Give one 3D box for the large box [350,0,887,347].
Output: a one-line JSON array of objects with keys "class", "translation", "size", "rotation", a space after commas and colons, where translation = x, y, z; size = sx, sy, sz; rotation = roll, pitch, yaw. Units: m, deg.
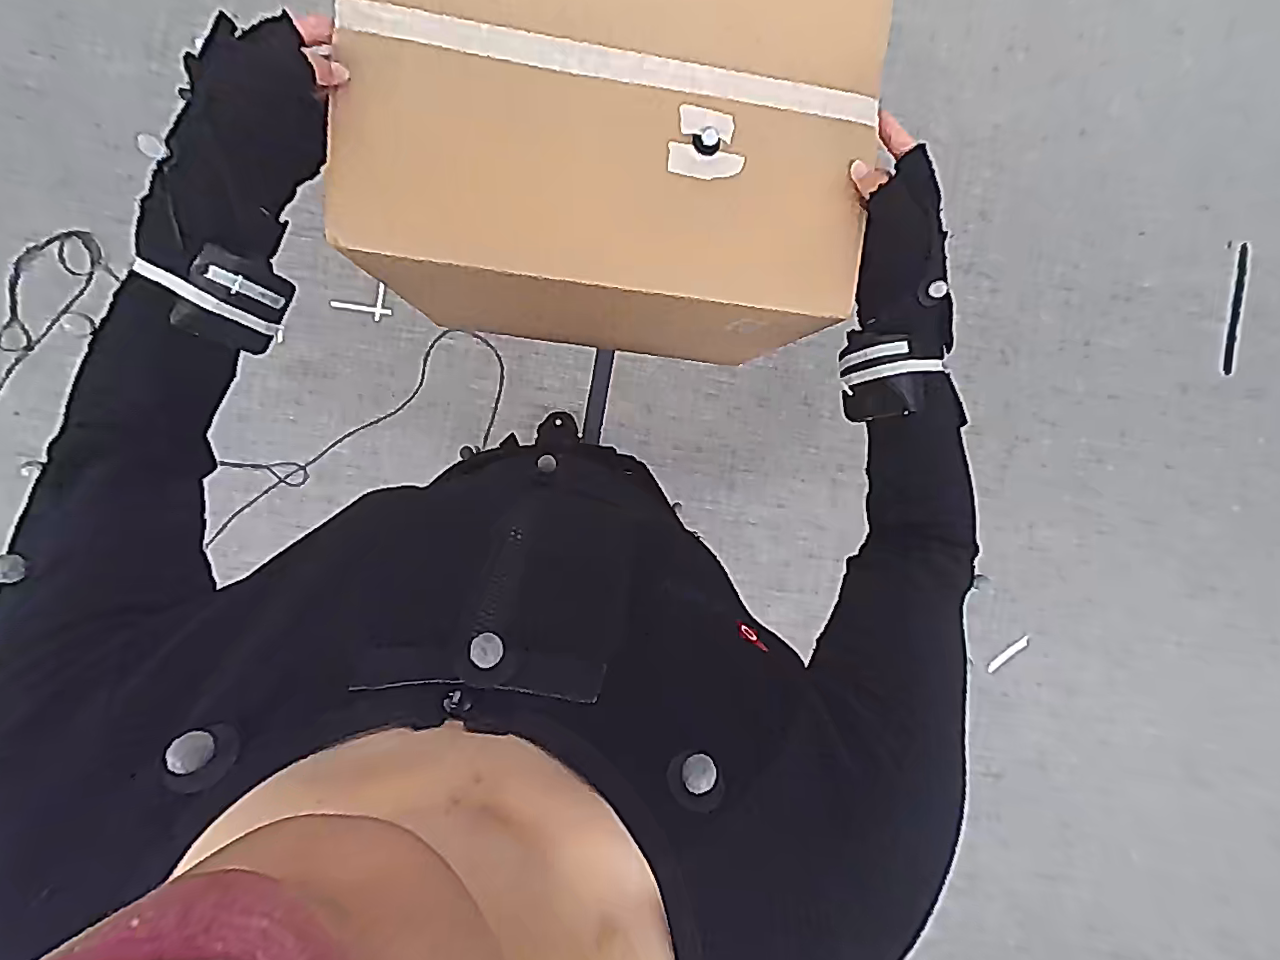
[{"class": "large box", "translation": [-0.027, -0.333, 0.559], "size": [0.408, 0.320, 0.320], "rotation": [5, 96, -8]}]
